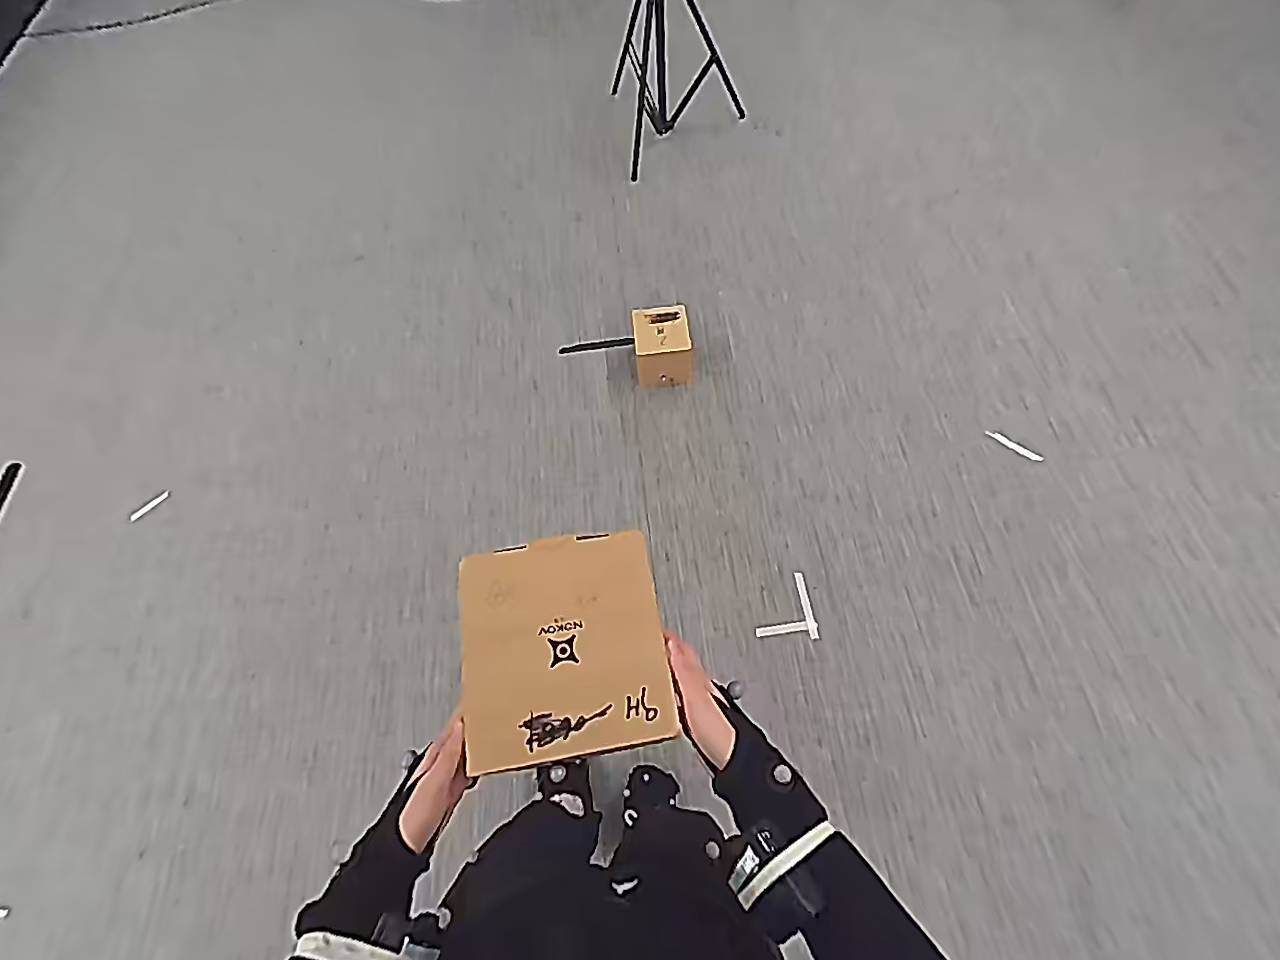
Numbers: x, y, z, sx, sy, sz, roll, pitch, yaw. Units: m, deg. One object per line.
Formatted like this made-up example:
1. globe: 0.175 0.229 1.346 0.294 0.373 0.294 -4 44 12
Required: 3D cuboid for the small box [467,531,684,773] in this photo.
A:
1. small box: -0.062 0.169 0.515 0.168 0.176 0.179 -8 63 -6
